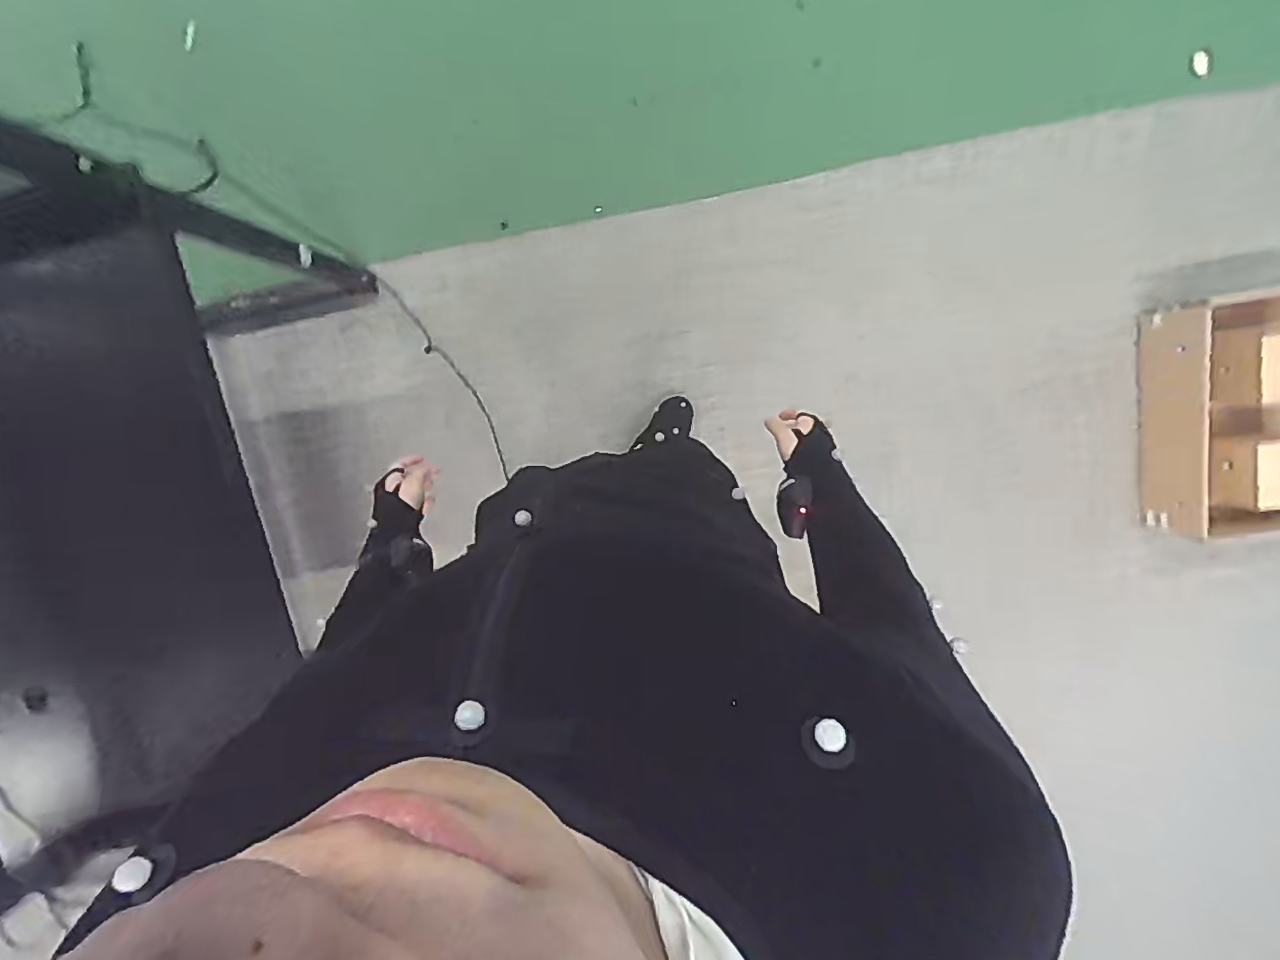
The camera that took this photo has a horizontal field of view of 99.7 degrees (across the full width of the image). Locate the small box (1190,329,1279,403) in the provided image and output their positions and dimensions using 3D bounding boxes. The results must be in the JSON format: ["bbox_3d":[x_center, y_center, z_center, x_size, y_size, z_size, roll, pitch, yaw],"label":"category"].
[{"bbox_3d":[1.555,-0.289,1.369,0.179,0.176,0.168,-9,99,4],"label":"small box"}]

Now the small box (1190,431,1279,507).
[{"bbox_3d":[1.594,-0.032,1.408,0.179,0.176,0.168,-9,97,4],"label":"small box"}]
